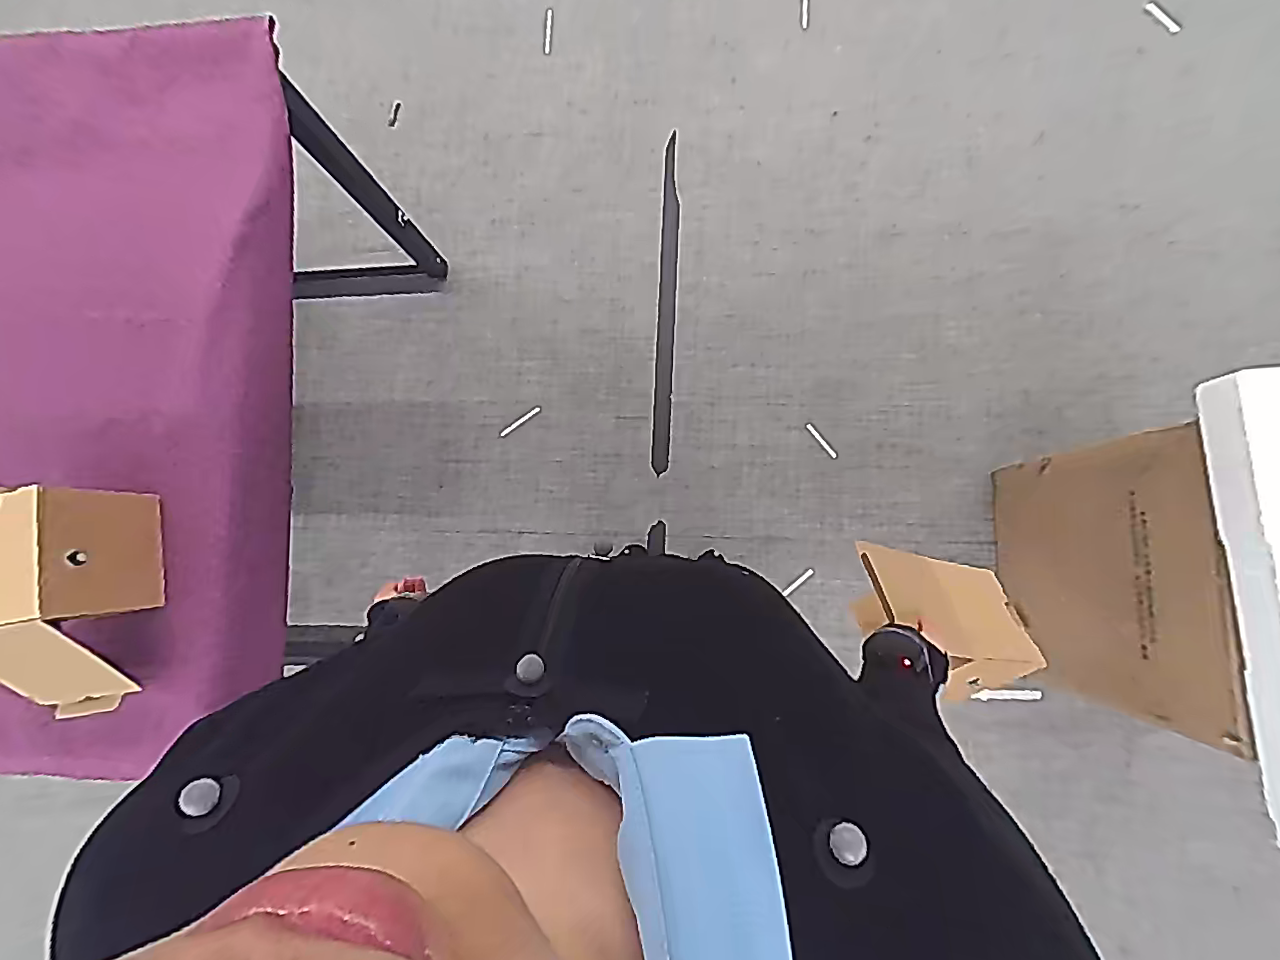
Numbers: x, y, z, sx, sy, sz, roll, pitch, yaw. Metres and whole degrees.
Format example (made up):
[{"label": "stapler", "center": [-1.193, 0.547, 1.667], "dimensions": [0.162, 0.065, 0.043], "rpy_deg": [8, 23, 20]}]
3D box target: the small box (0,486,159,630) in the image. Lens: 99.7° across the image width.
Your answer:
[{"label": "small box", "center": [-0.830, 0.113, 0.763], "dimensions": [0.168, 0.176, 0.179], "rpy_deg": [-9, 82, 3]}]
